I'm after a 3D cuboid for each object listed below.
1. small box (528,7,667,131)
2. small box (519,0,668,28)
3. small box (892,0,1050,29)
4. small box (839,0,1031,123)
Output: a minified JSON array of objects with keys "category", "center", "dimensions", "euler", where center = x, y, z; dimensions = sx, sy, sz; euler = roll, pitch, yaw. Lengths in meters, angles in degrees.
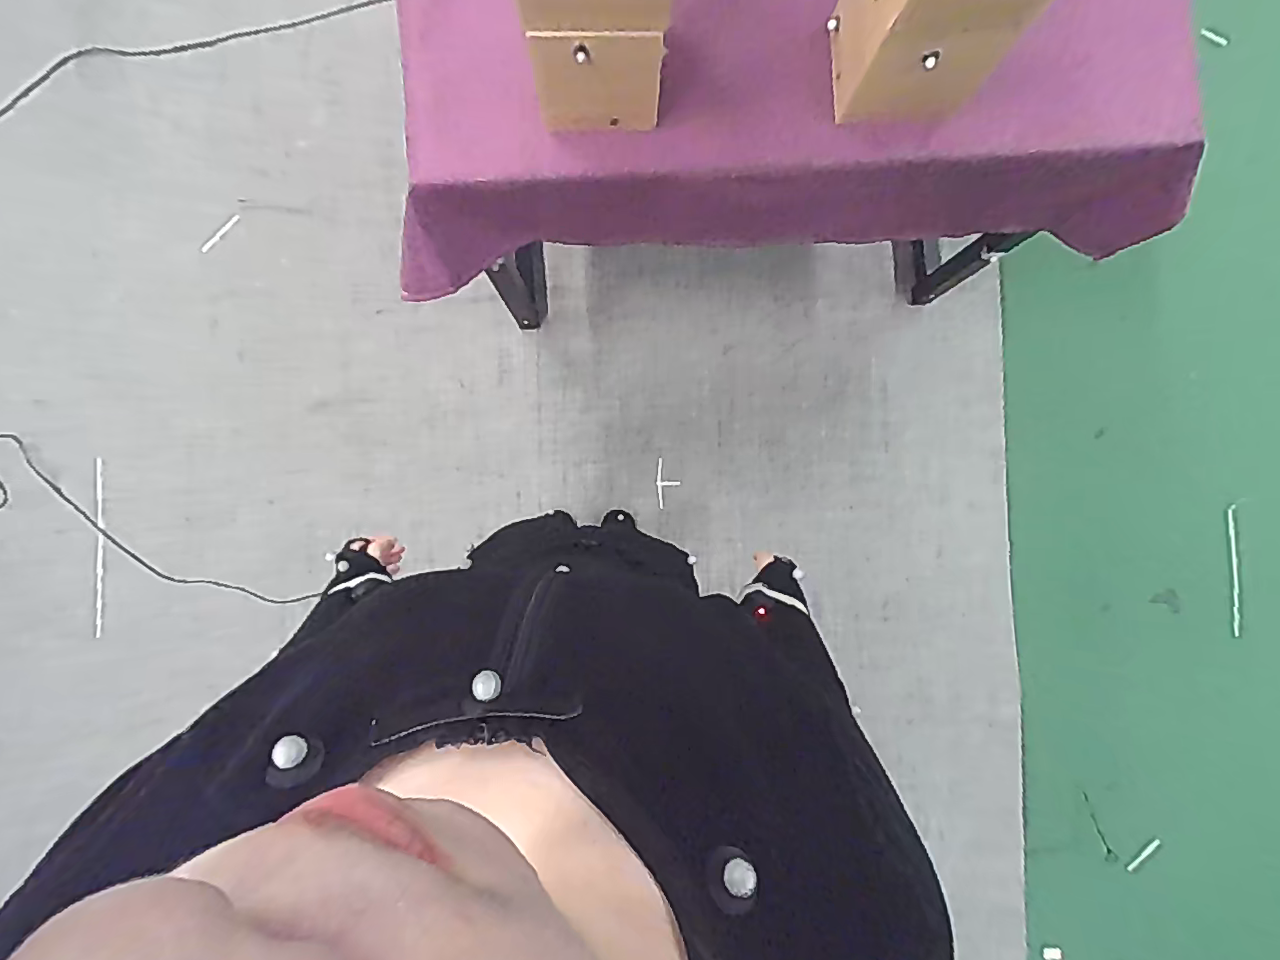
[{"category":"small box","center":[-0.053,-0.608,0.721],"dimensions":[0.168,0.176,0.179],"euler":[-1,87,-1]},{"category":"small box","center":[-0.048,-0.614,0.558],"dimensions":[0.179,0.176,0.168],"euler":[0,87,-1]},{"category":"small box","center":[0.391,-0.625,0.572],"dimensions":[0.179,0.176,0.168],"euler":[-3,89,-1]},{"category":"small box","center":[0.383,-0.619,0.734],"dimensions":[0.179,0.176,0.168],"euler":[-2,88,-2]}]
